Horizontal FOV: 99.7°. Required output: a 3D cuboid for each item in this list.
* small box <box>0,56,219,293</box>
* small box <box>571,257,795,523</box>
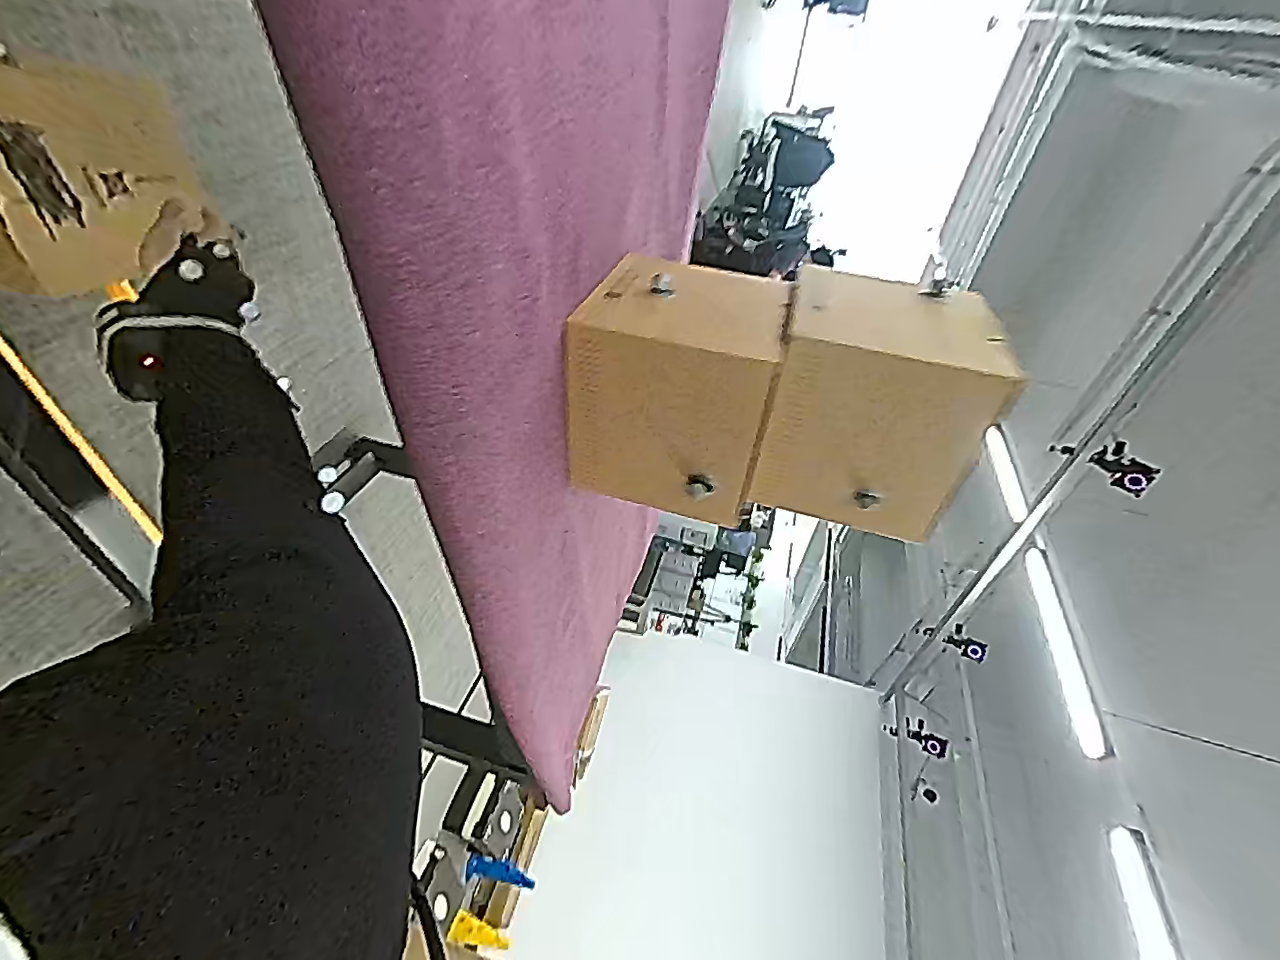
[{"bbox_3d":[-0.563,-0.290,0.504,0.179,0.176,0.168,-63,164,-53],"label":"small box"},{"bbox_3d":[0.038,-0.091,0.518,0.168,0.176,0.179,-67,167,-48],"label":"small box"}]
